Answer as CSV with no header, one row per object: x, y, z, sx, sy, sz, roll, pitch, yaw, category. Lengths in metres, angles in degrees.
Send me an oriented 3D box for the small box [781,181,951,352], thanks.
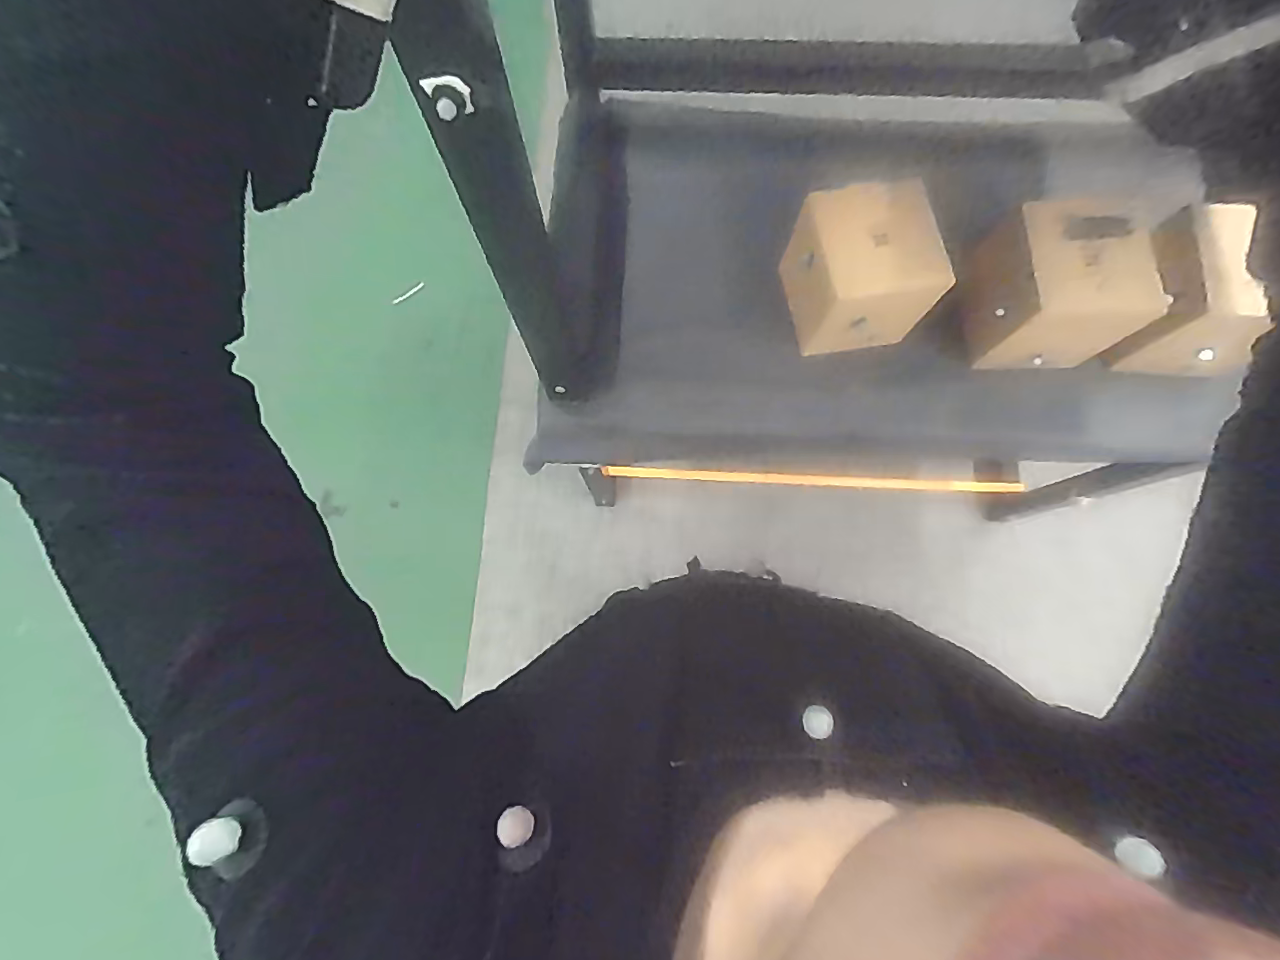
0.327,-0.308,0.818,0.168,0.176,0.179,-9,75,-1,small box
